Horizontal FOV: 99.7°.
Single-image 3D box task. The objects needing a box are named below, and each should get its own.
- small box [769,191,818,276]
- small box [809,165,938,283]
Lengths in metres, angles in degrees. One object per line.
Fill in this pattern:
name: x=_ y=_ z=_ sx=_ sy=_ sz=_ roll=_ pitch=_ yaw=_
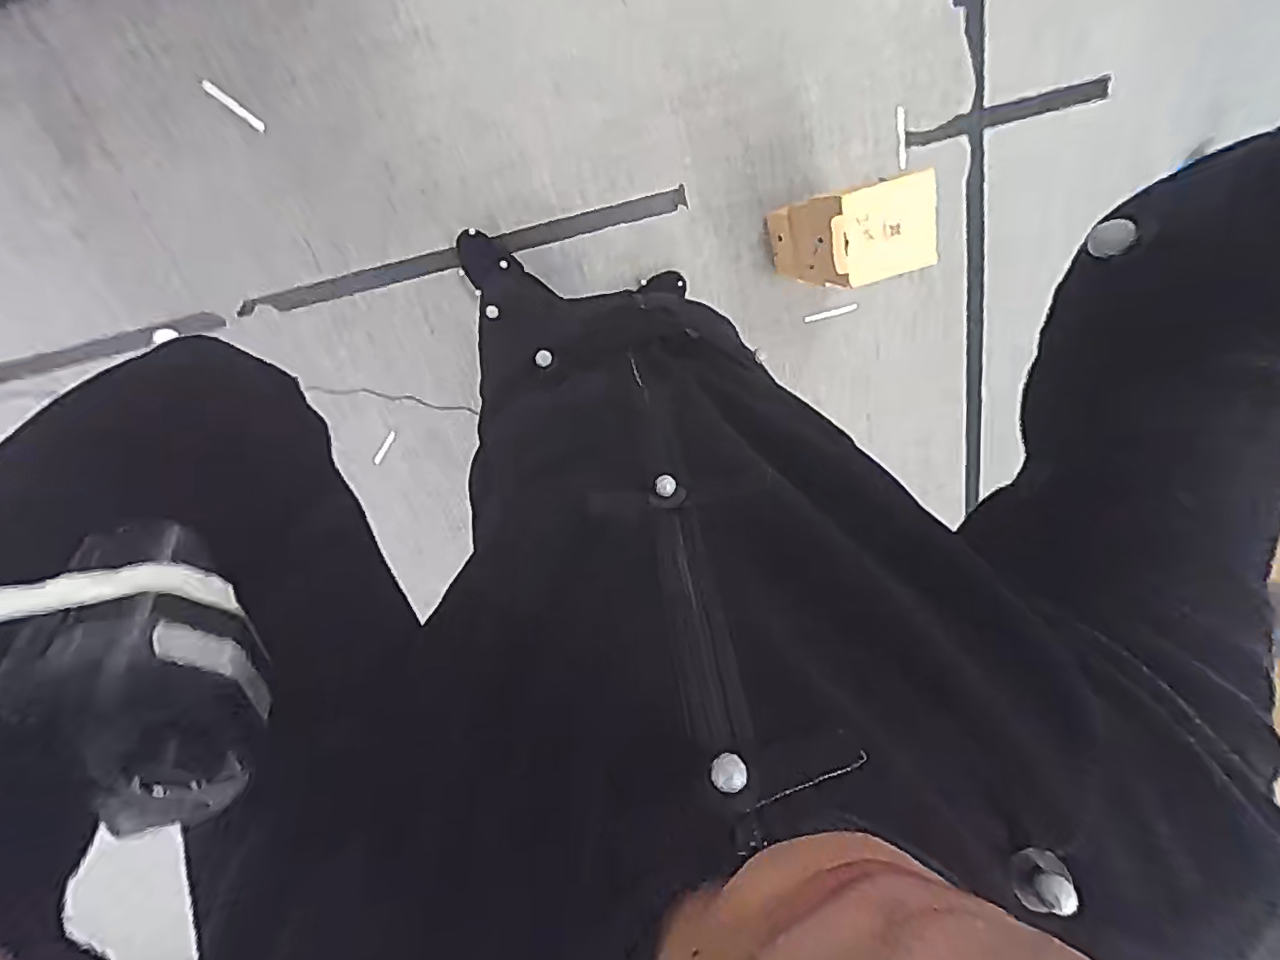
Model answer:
small box: x=0.437 y=-0.628 z=1.366 sx=0.179 sy=0.176 sz=0.168 roll=-19 pitch=116 yaw=3
small box: x=0.452 y=-0.502 z=1.060 sx=0.179 sy=0.176 sz=0.168 roll=-15 pitch=116 yaw=2
